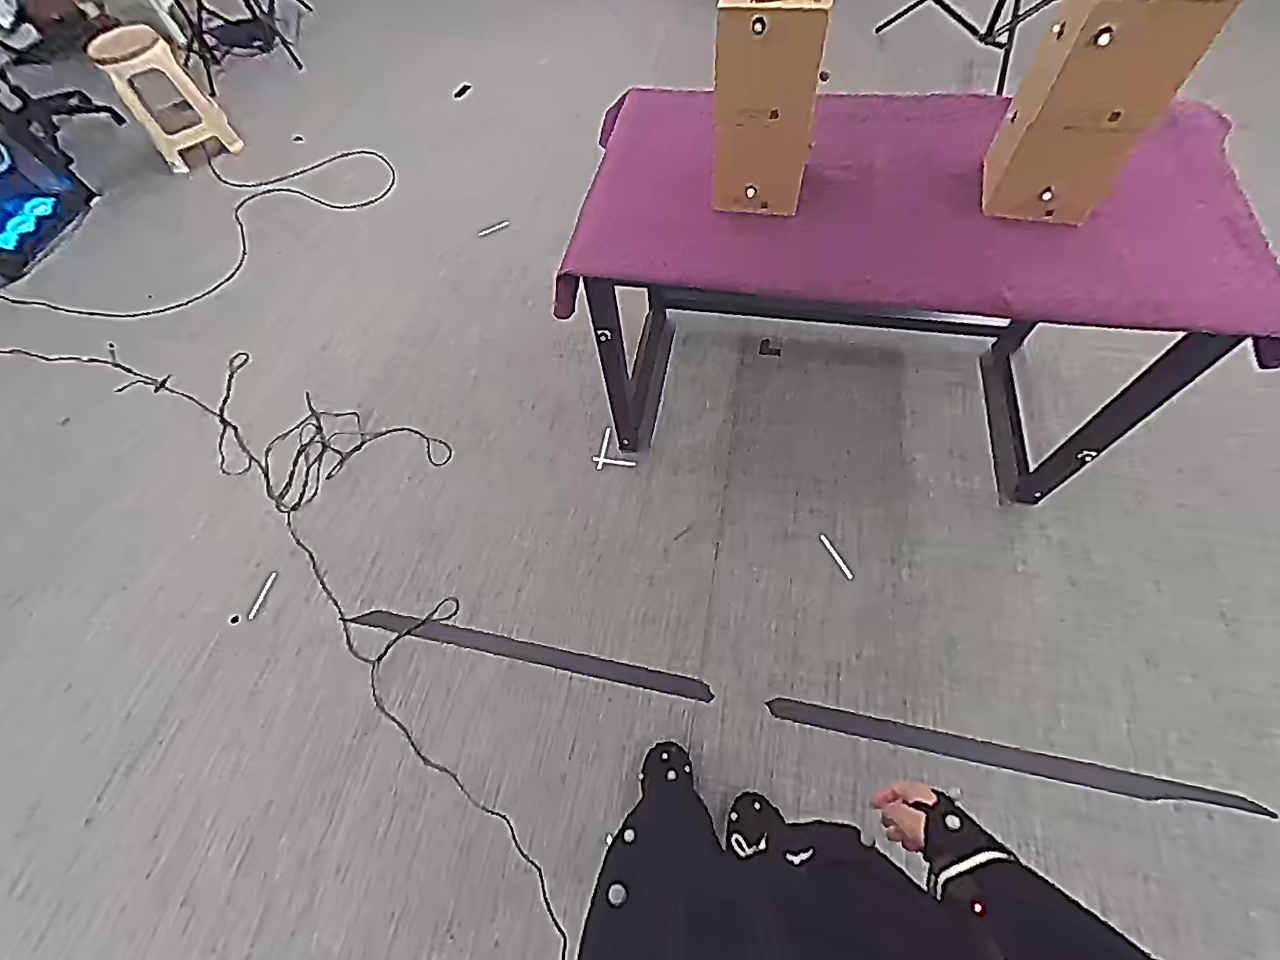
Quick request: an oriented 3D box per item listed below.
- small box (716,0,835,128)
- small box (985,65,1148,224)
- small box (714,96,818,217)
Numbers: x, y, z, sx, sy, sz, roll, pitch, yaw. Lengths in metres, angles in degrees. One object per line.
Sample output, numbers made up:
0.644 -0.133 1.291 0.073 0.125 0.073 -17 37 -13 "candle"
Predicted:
0.220 -0.713 0.883 0.168 0.176 0.179 10 63 11 "small box"
0.735 -0.587 0.952 0.168 0.176 0.179 13 64 13 "small box"
0.235 -0.636 1.027 0.168 0.176 0.179 10 64 10 "small box"
